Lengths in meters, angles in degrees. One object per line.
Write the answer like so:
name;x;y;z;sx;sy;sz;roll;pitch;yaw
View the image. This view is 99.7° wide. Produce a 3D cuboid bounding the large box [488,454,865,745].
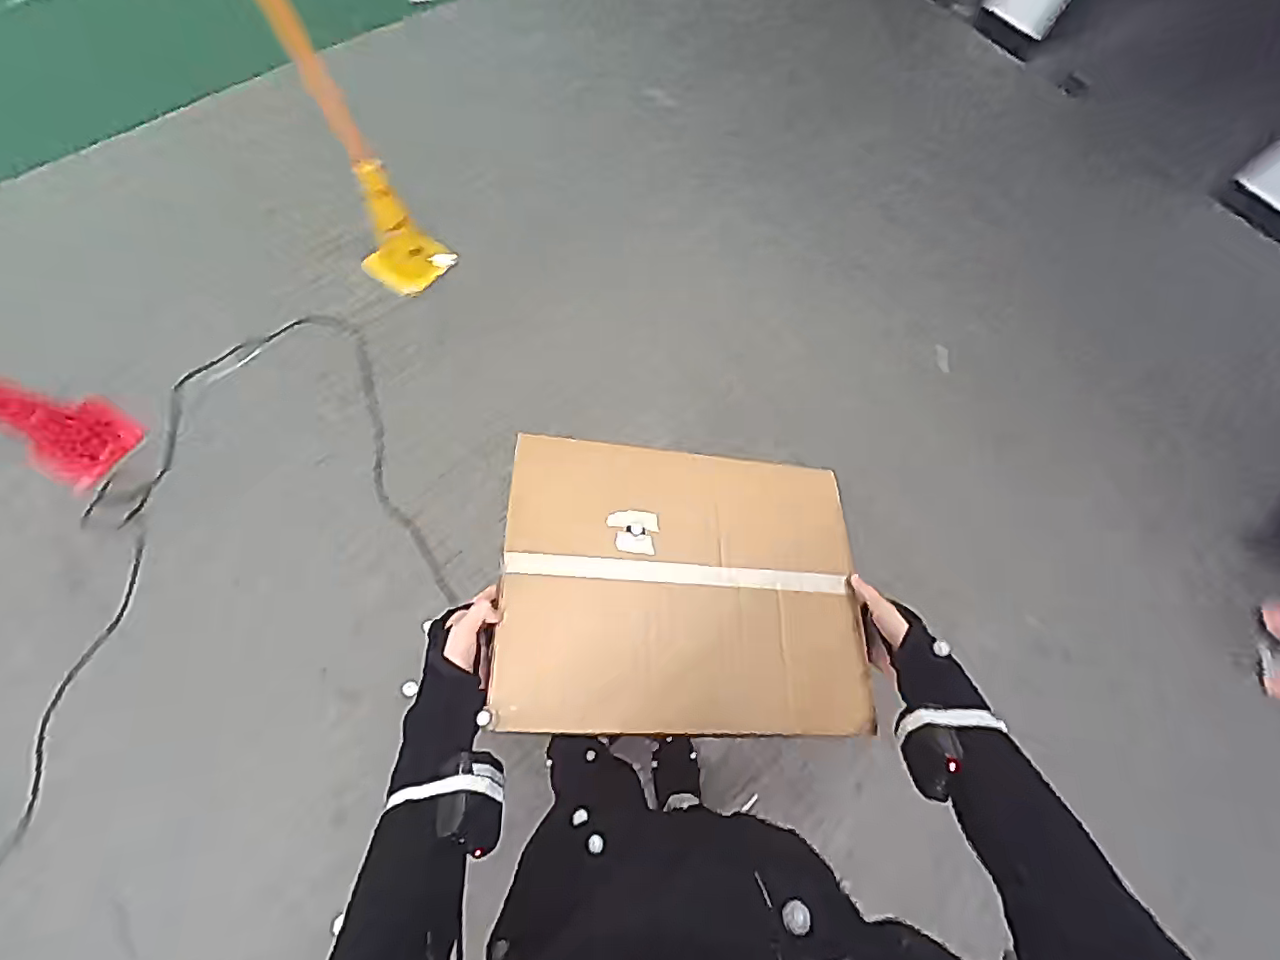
large box;0.018;0.181;0.737;0.408;0.320;0.320;5;63;-12
